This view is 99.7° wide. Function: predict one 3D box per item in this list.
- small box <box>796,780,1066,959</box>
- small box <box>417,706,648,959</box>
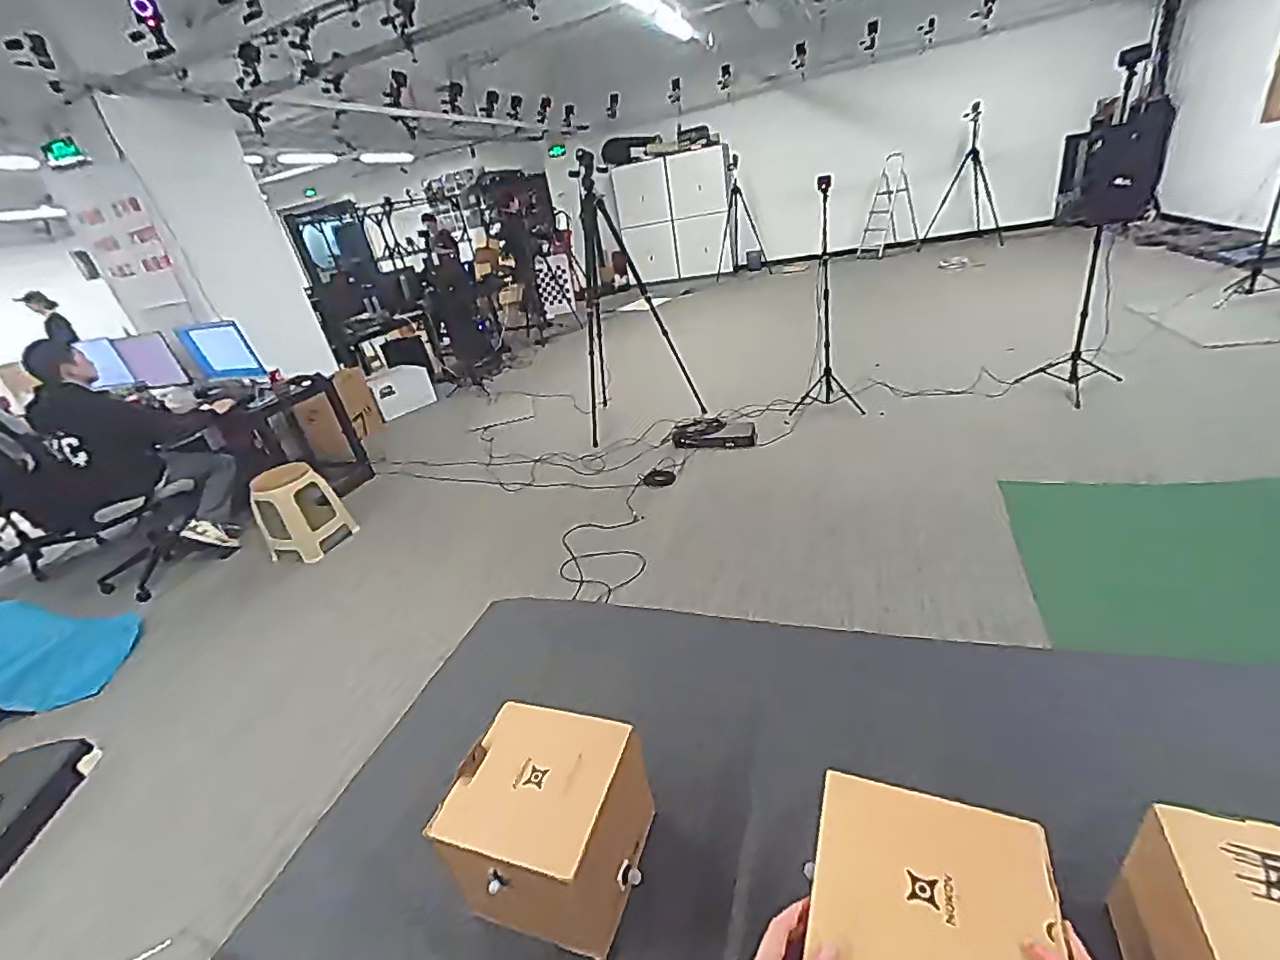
[{"bbox_3d":[0.236,0.400,0.456,0.179,0.176,0.168,3,30,25],"label":"small box"},{"bbox_3d":[-0.106,0.389,0.607,0.179,0.176,0.168,1,30,21],"label":"small box"}]
